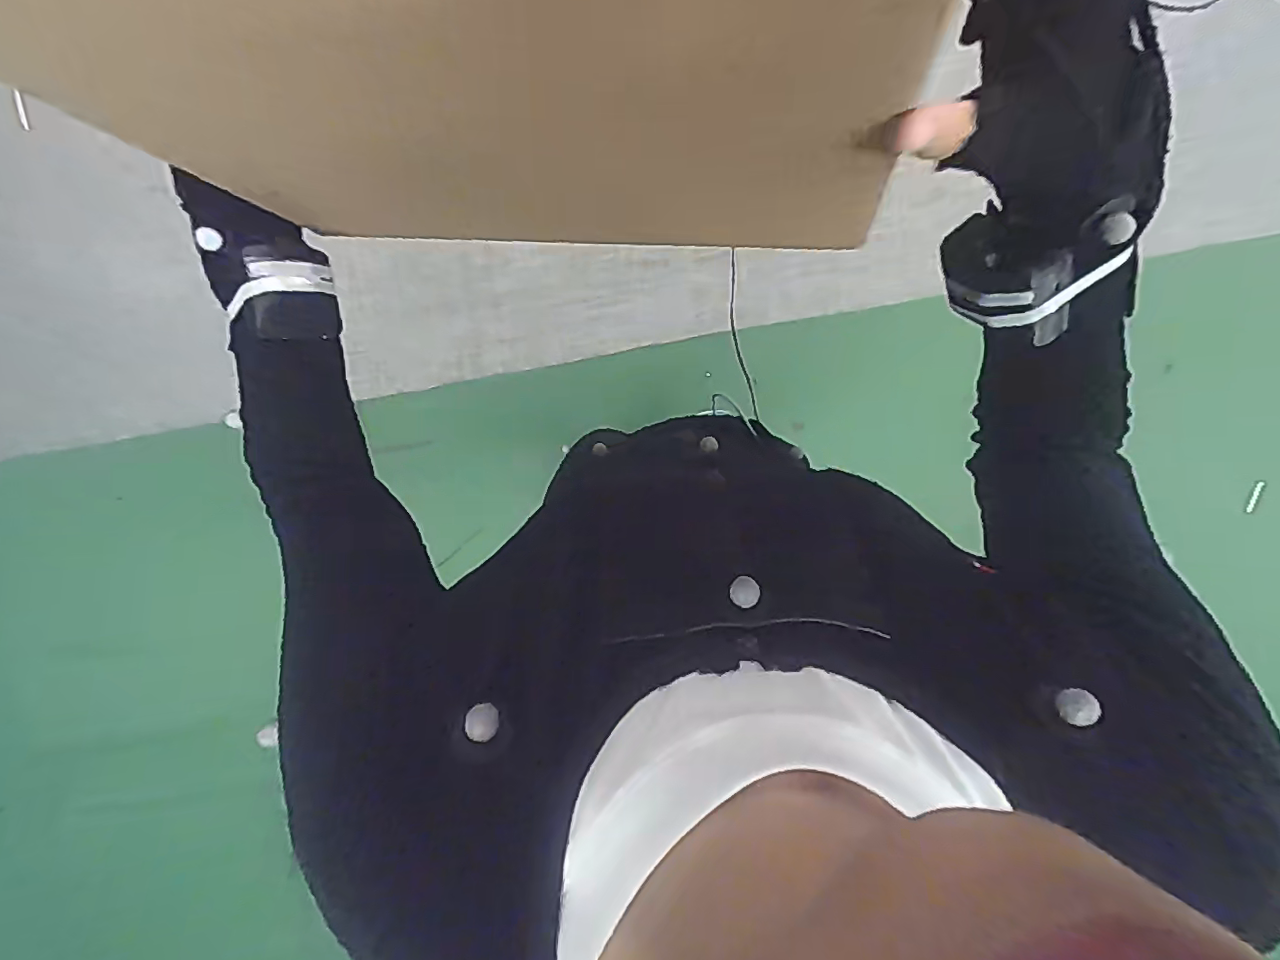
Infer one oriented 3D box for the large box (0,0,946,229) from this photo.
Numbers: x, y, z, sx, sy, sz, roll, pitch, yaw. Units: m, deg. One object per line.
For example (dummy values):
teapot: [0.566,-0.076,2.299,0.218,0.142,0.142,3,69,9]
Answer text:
large box: [-0.076,-0.319,0.220,0.408,0.320,0.320,8,95,14]
